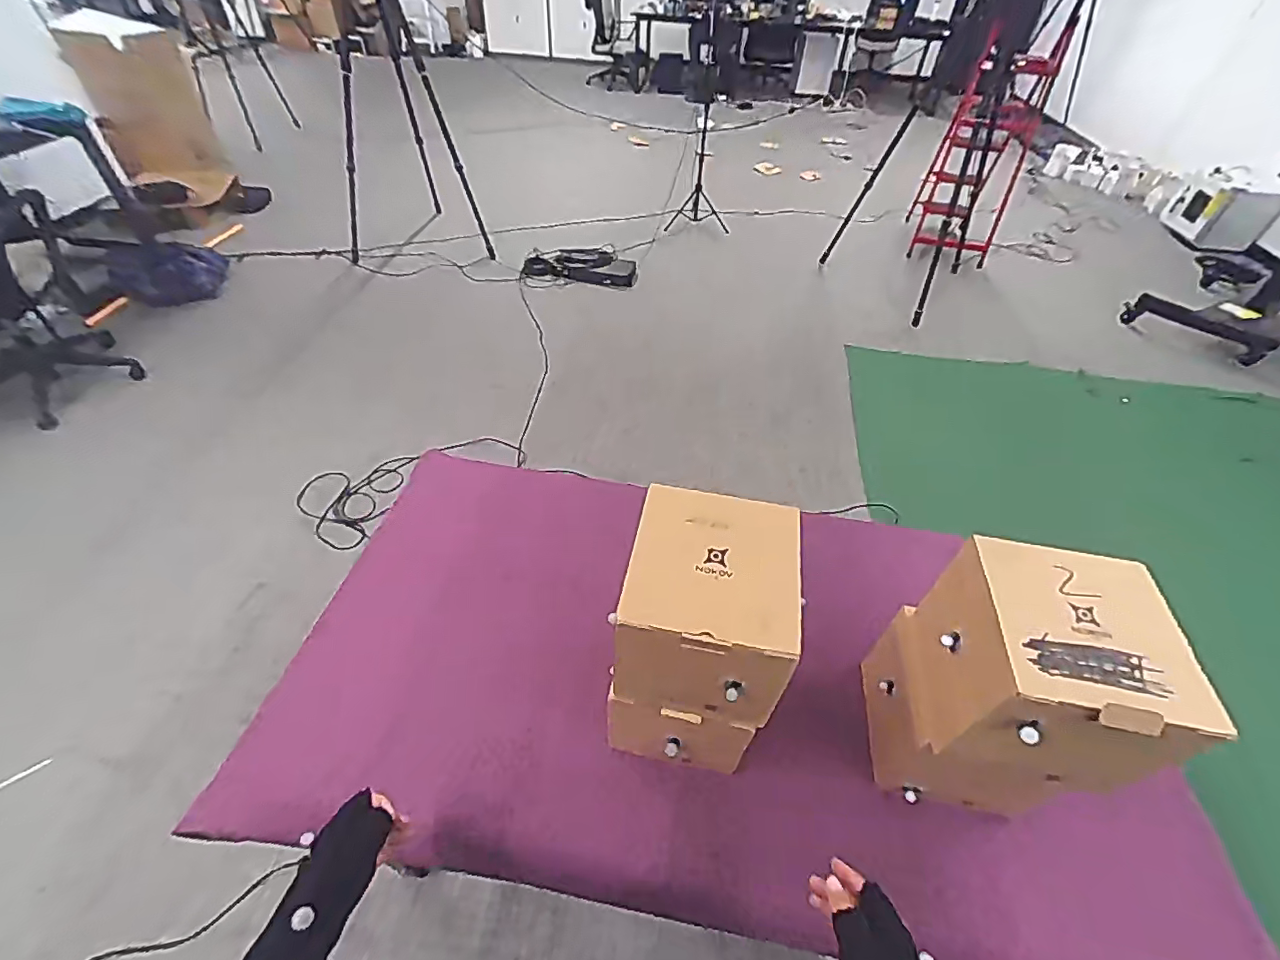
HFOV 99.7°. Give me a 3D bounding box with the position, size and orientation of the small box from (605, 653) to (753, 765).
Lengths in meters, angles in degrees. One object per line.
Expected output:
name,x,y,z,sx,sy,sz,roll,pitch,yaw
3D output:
small box,0.057,0.242,0.698,0.168,0.176,0.179,11,48,6

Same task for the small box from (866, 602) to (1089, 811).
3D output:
small box,0.395,0.285,0.674,0.168,0.176,0.179,13,48,6

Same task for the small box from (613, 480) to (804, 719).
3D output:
small box,0.071,0.130,0.579,0.168,0.176,0.179,11,47,6
